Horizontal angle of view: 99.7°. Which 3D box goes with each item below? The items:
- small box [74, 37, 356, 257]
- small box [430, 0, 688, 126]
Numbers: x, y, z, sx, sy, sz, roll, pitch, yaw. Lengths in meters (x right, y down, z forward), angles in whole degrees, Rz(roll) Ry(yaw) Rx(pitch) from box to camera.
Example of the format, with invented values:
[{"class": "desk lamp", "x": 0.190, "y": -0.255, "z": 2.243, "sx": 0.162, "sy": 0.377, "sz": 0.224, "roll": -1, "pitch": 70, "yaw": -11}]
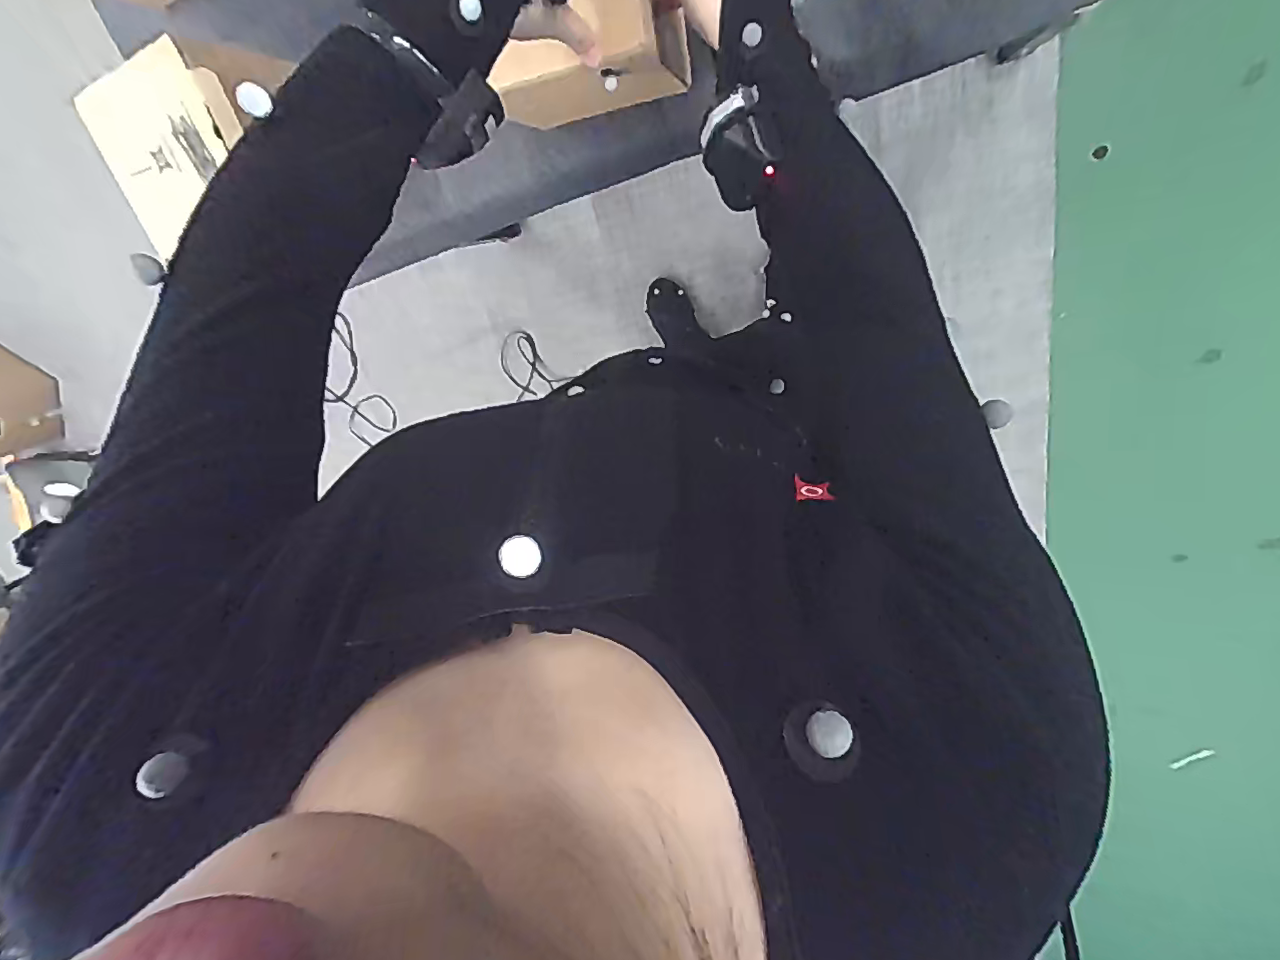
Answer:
[{"class": "small box", "x": -0.472, "y": -0.375, "z": 0.635, "sx": 0.179, "sy": 0.176, "sz": 0.168, "roll": -6, "pitch": 115, "yaw": 21}, {"class": "small box", "x": -0.068, "y": -0.432, "z": 0.476, "sx": 0.179, "sy": 0.176, "sz": 0.168, "roll": -2, "pitch": 115, "yaw": 19}]
